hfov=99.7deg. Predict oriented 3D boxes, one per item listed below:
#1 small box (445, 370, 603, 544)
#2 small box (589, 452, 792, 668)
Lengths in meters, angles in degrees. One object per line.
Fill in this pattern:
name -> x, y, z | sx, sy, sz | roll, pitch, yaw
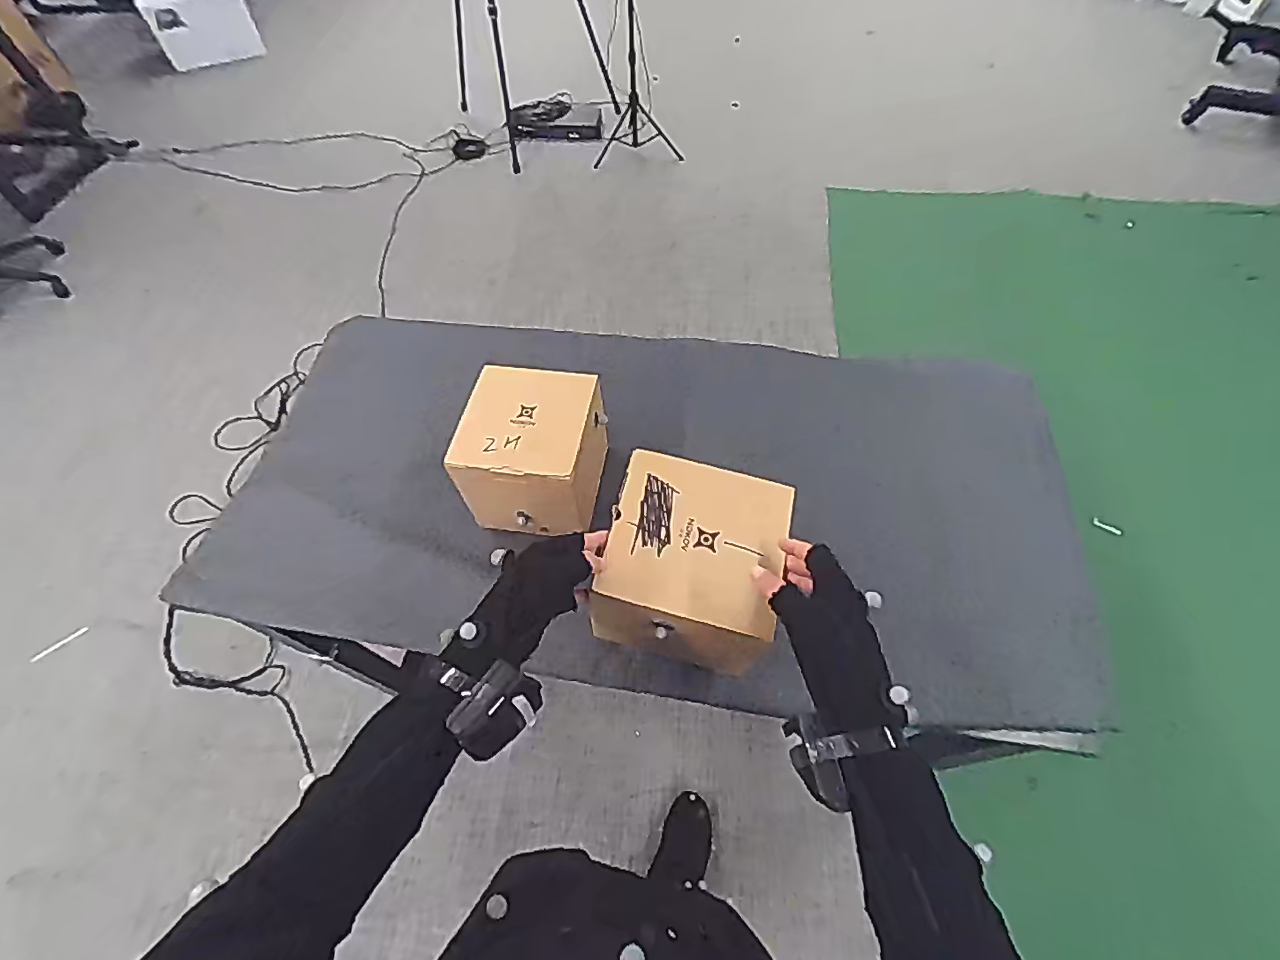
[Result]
small box -> -0.150, -0.030, 0.779 | 0.168, 0.176, 0.179 | 6, 57, 7
small box -> 0.052, 0.096, 0.603 | 0.179, 0.176, 0.168 | 14, 60, 5
